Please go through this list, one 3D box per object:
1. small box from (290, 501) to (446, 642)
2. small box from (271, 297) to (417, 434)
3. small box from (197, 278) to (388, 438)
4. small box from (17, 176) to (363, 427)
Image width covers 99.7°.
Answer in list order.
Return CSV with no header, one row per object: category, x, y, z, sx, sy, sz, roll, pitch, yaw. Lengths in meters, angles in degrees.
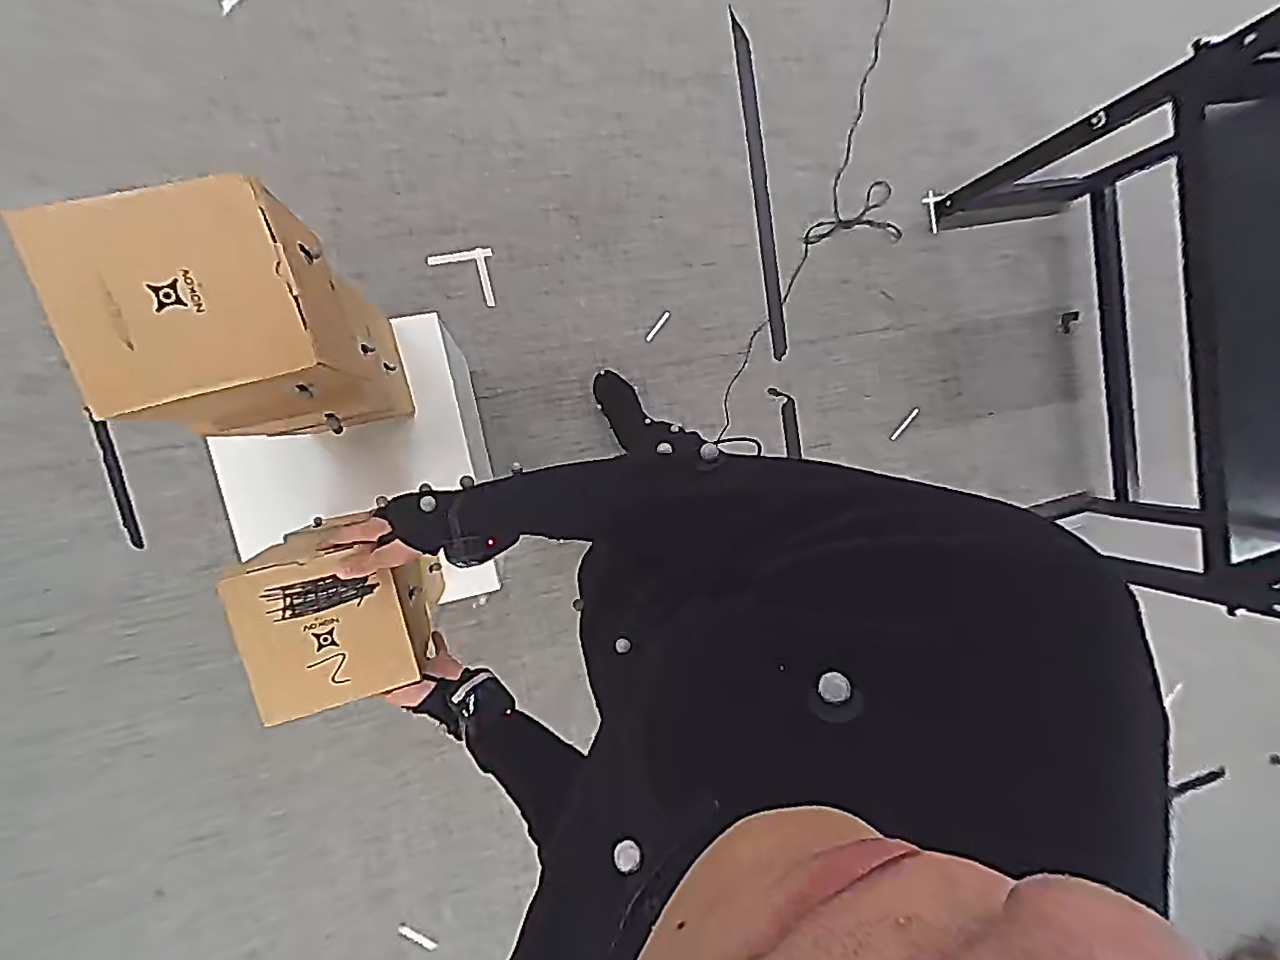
small box,-0.421,0.136,0.873,0.179,0.176,0.168,-11,97,-11
small box,-0.467,-0.167,0.834,0.179,0.176,0.168,-14,99,-10
small box,-0.432,-0.152,0.673,0.179,0.176,0.168,-14,98,-11
small box,-0.389,-0.154,0.516,0.179,0.176,0.168,-19,98,-10
